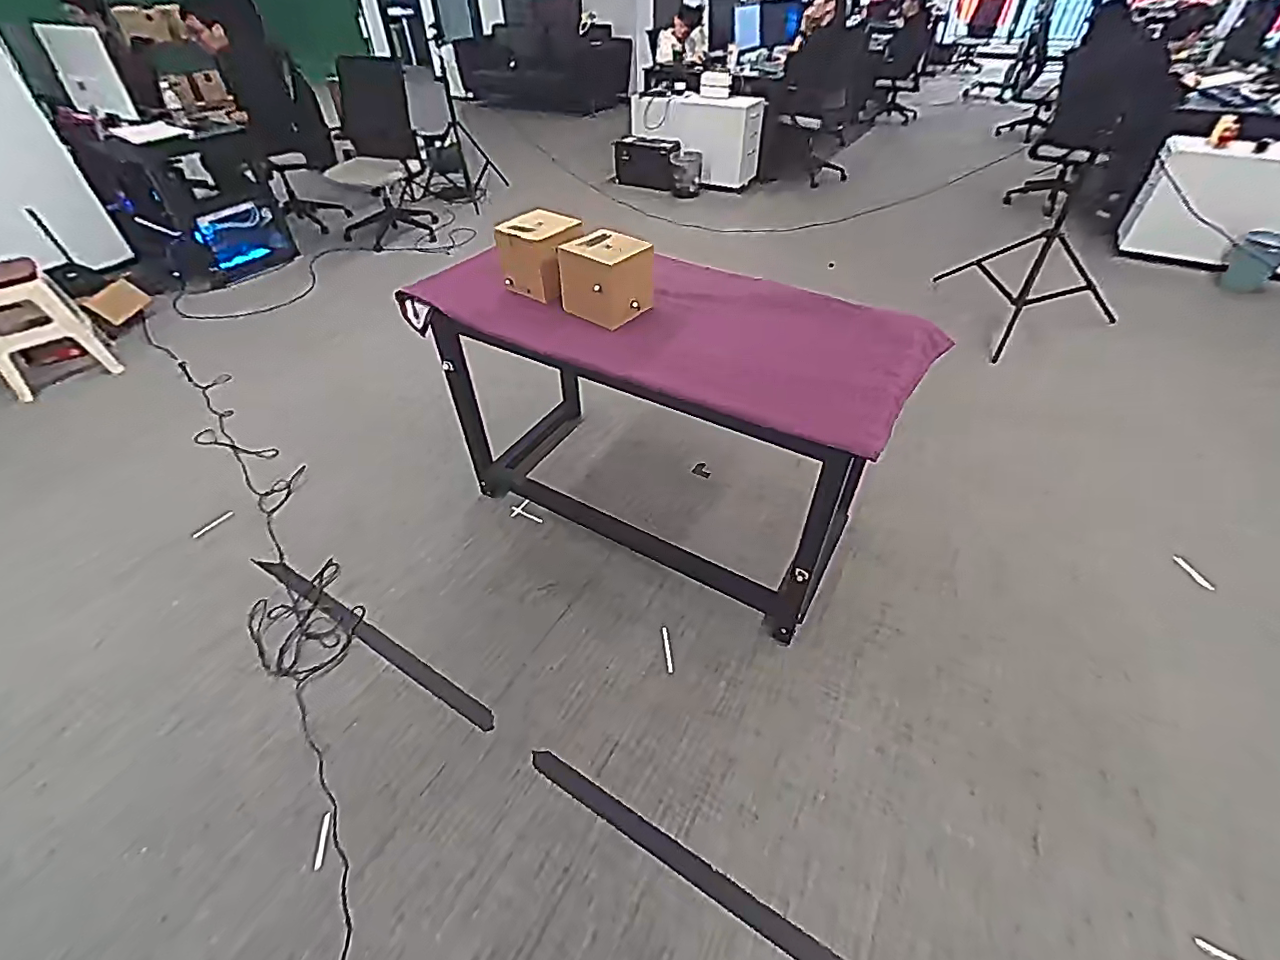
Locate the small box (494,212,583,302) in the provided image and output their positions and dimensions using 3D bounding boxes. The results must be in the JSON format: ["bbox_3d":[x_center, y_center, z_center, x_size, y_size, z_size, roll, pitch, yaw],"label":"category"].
[{"bbox_3d":[-0.271,-0.616,1.494,0.168,0.176,0.179,28,51,26],"label":"small box"}]
